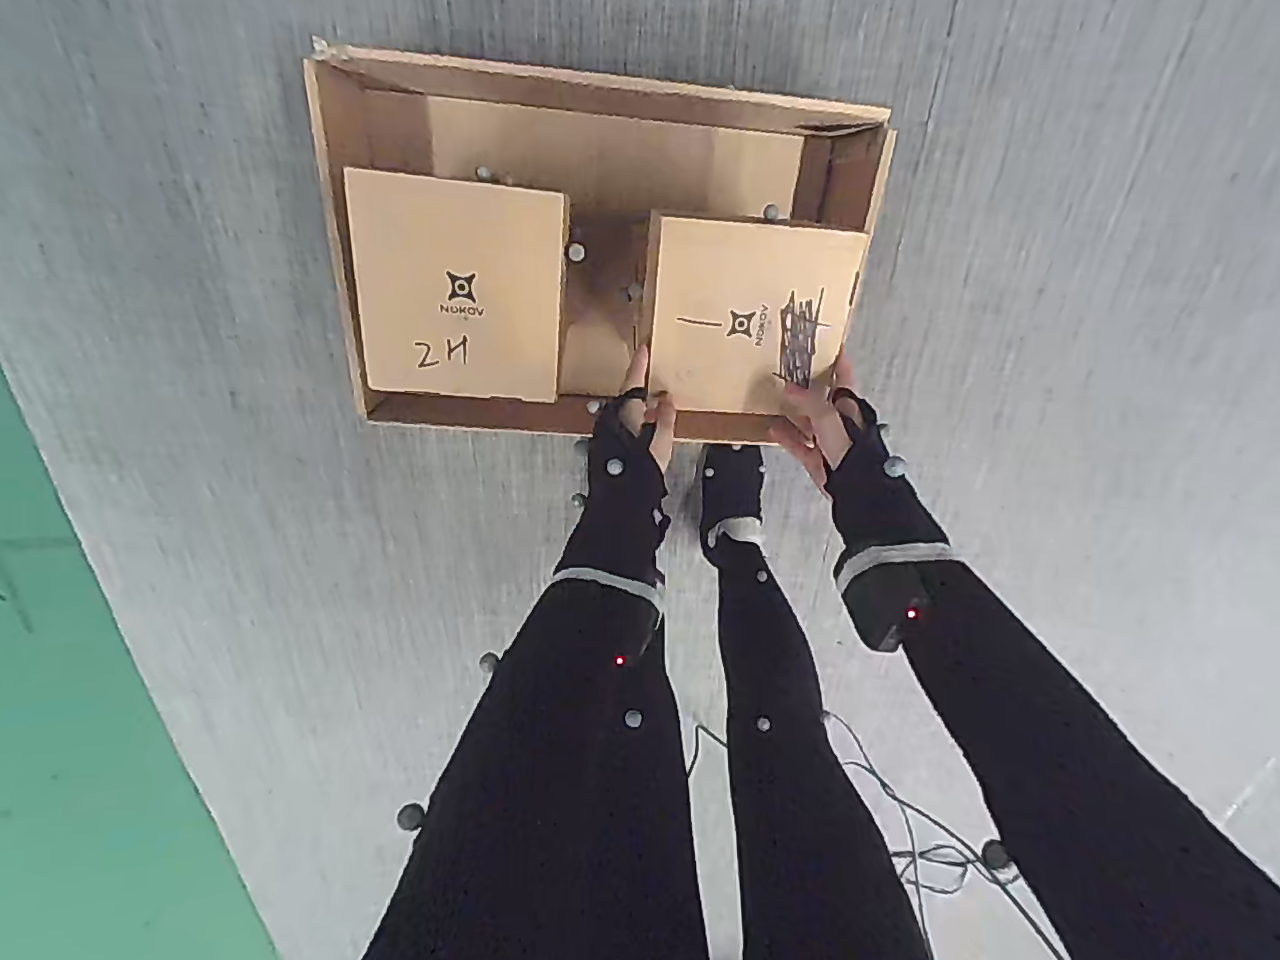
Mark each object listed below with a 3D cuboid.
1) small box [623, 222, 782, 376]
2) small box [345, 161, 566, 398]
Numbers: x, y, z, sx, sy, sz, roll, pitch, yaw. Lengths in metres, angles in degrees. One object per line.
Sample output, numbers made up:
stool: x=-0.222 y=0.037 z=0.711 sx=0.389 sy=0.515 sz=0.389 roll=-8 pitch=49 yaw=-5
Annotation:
small box: x=0.068 y=-0.243 z=0.711 sx=0.179 sy=0.176 sz=0.168 roll=1 pitch=117 yaw=-3
small box: x=-0.162 y=-0.195 z=0.528 sx=0.168 sy=0.176 sz=0.179 roll=4 pitch=116 yaw=-6
